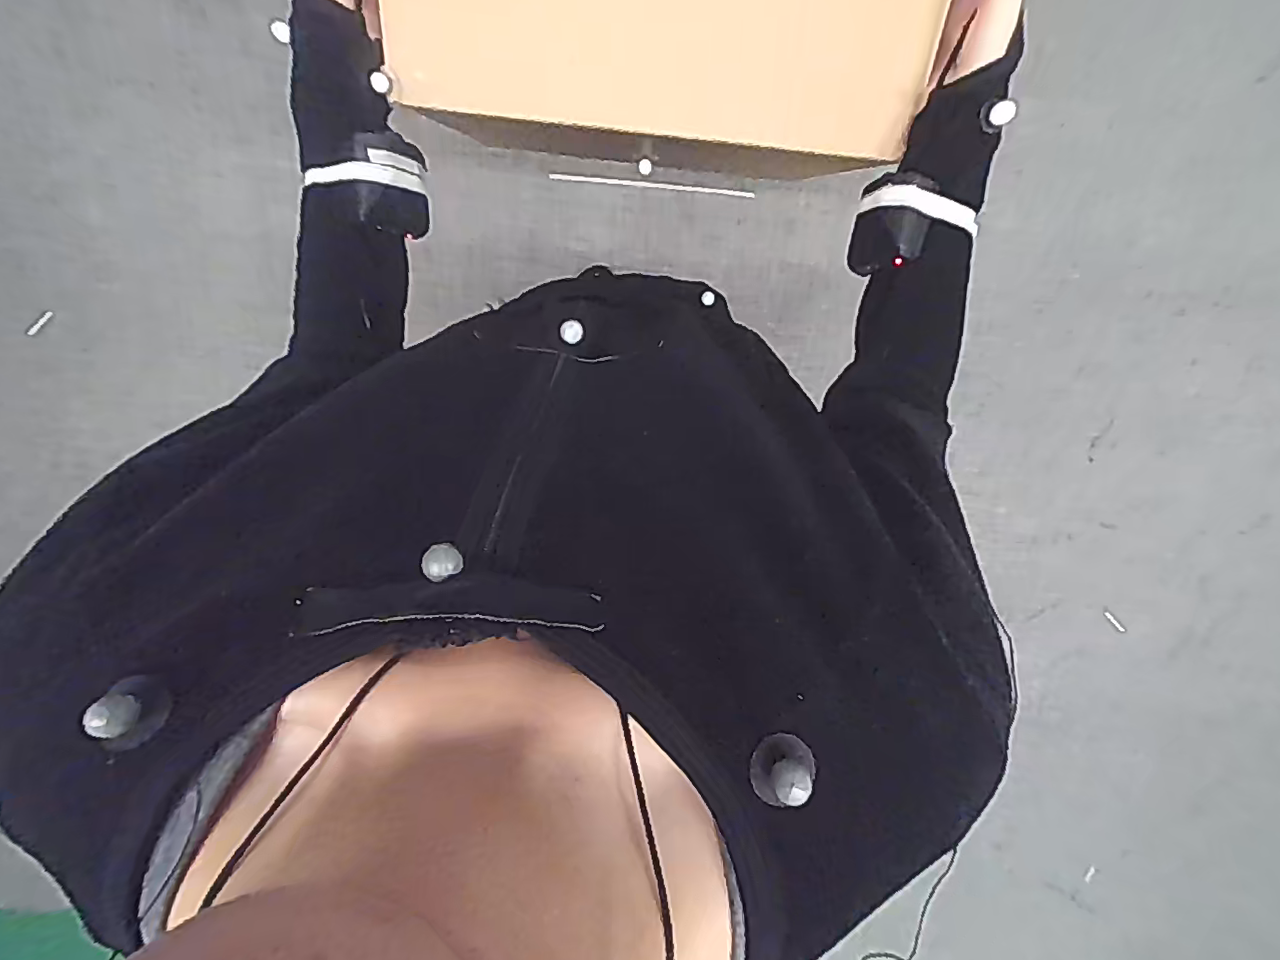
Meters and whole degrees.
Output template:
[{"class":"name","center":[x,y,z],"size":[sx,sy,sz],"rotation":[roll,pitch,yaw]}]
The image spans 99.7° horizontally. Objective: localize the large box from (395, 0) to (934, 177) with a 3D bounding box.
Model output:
[{"class":"large box","center":[0.022,-0.475,0.501],"size":[0.408,0.320,0.320],"rotation":[4,115,-4]}]
